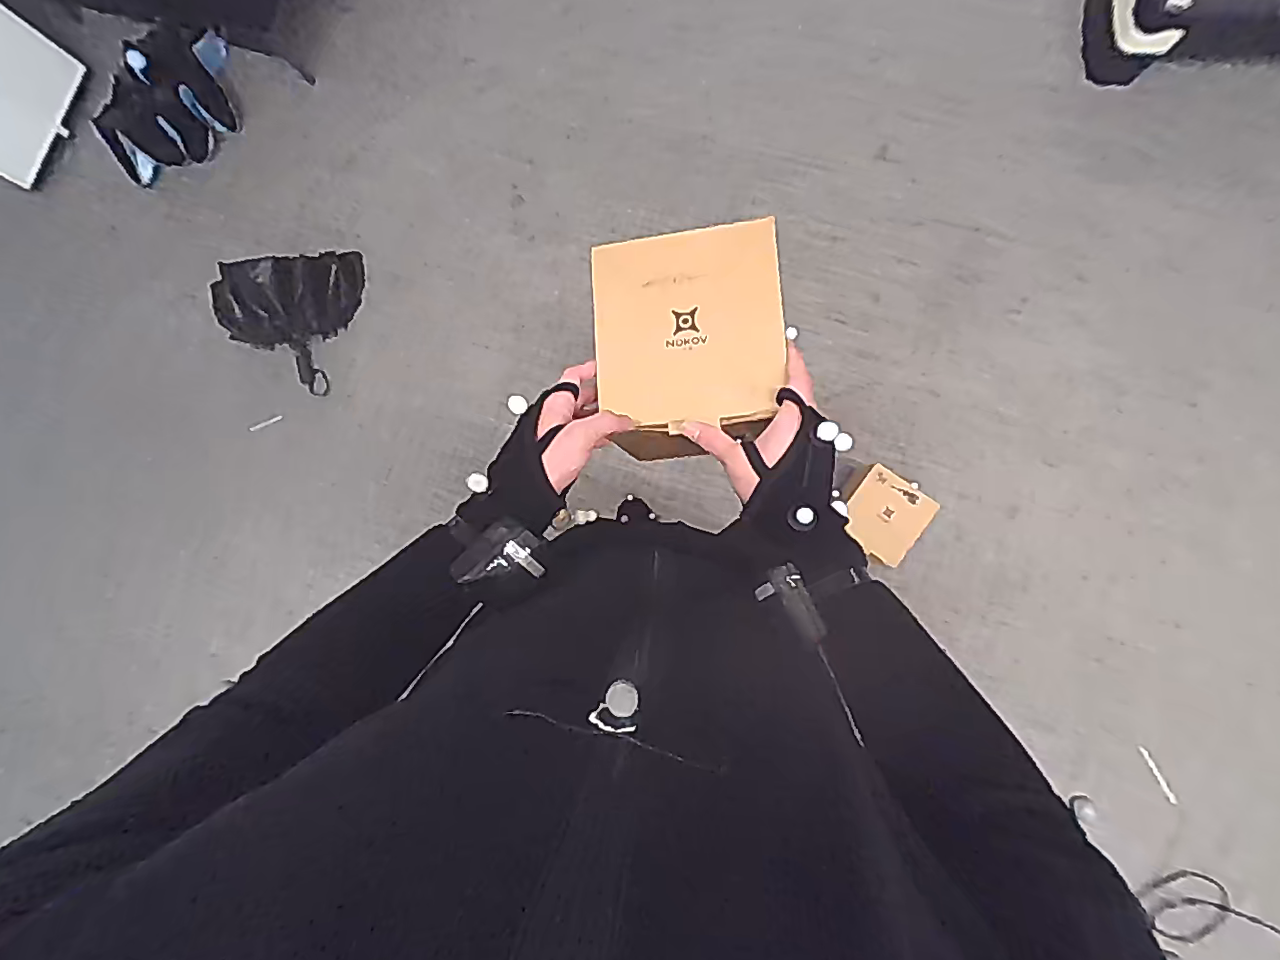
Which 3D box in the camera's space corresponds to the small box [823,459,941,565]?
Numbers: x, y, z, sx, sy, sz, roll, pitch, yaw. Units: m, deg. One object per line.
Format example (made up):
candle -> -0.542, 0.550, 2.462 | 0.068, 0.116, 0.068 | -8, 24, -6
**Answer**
small box -> 0.545, 0.074, 1.251 | 0.168, 0.176, 0.179 | 35, 91, 8
